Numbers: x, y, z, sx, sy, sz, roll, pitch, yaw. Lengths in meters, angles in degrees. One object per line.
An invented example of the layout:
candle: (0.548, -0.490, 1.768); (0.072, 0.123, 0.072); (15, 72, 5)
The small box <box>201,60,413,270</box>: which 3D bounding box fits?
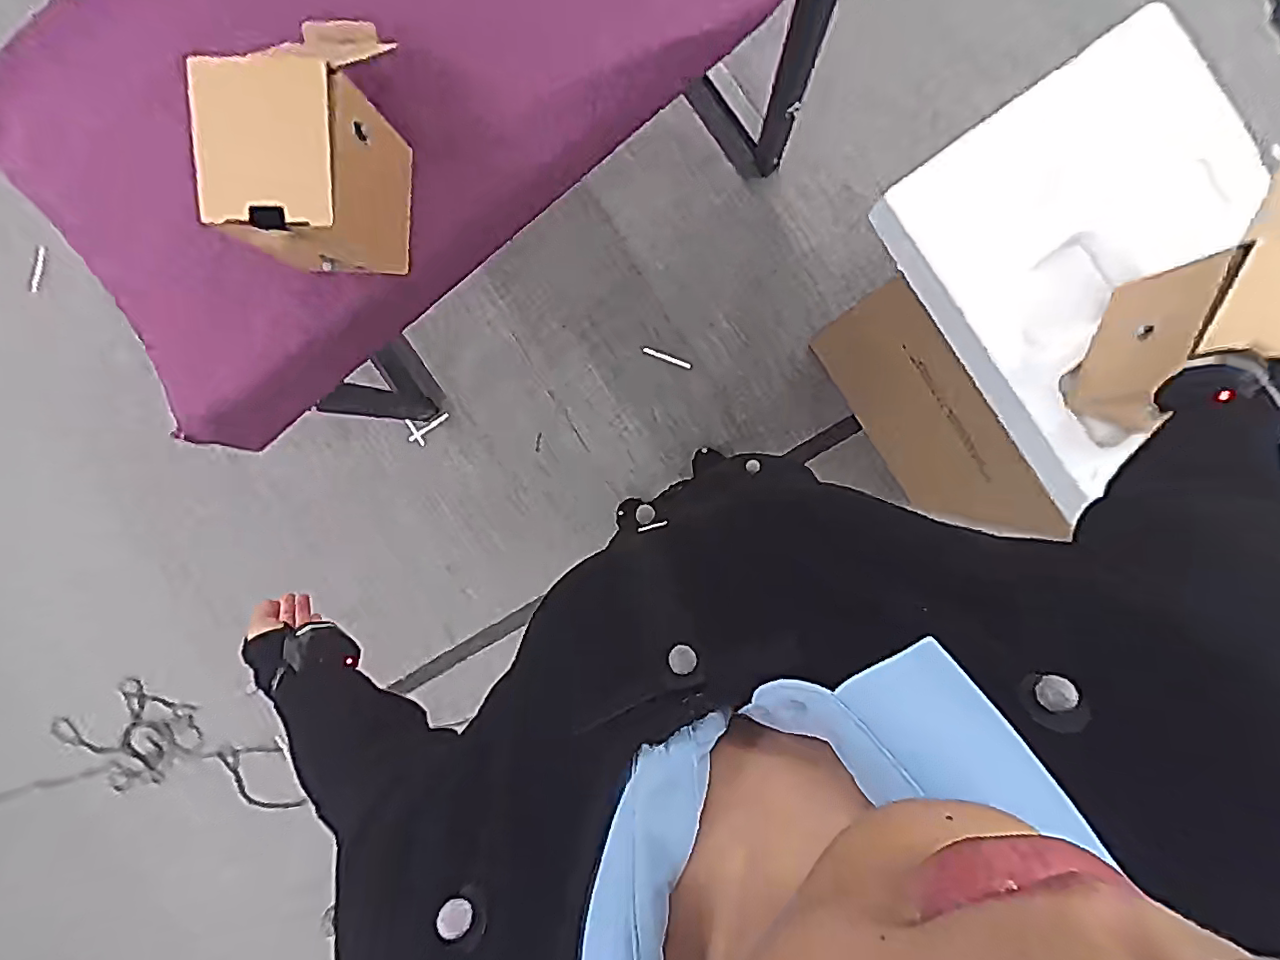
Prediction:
small box: (-0.411, -0.390, 0.693); (0.168, 0.176, 0.179); (5, 93, 5)
